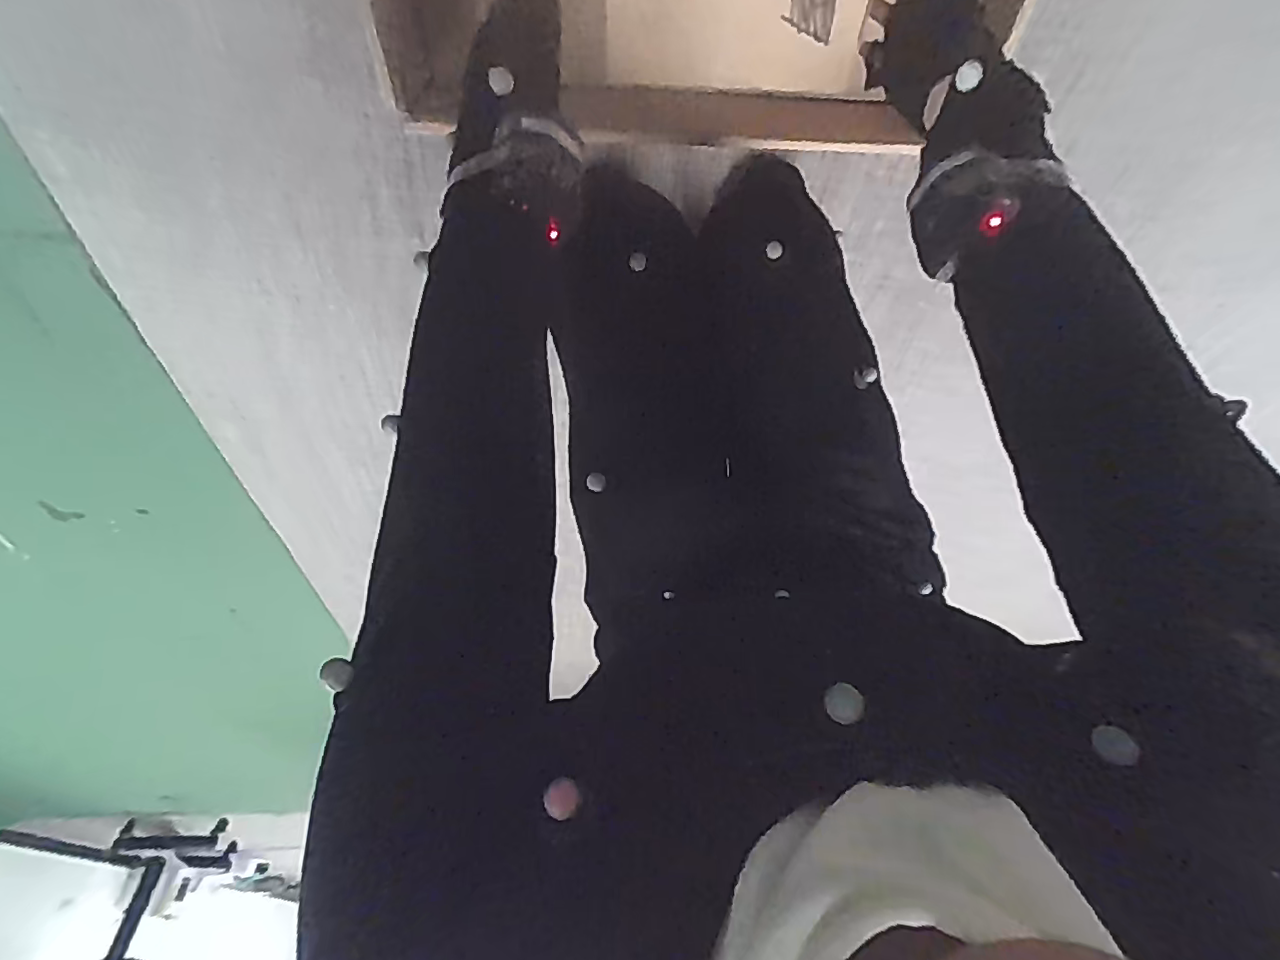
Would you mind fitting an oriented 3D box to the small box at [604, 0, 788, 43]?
[{"bbox_3d":[0.052,-0.526,0.486,0.168,0.176,0.179,0,138,-4],"label":"small box"}]
